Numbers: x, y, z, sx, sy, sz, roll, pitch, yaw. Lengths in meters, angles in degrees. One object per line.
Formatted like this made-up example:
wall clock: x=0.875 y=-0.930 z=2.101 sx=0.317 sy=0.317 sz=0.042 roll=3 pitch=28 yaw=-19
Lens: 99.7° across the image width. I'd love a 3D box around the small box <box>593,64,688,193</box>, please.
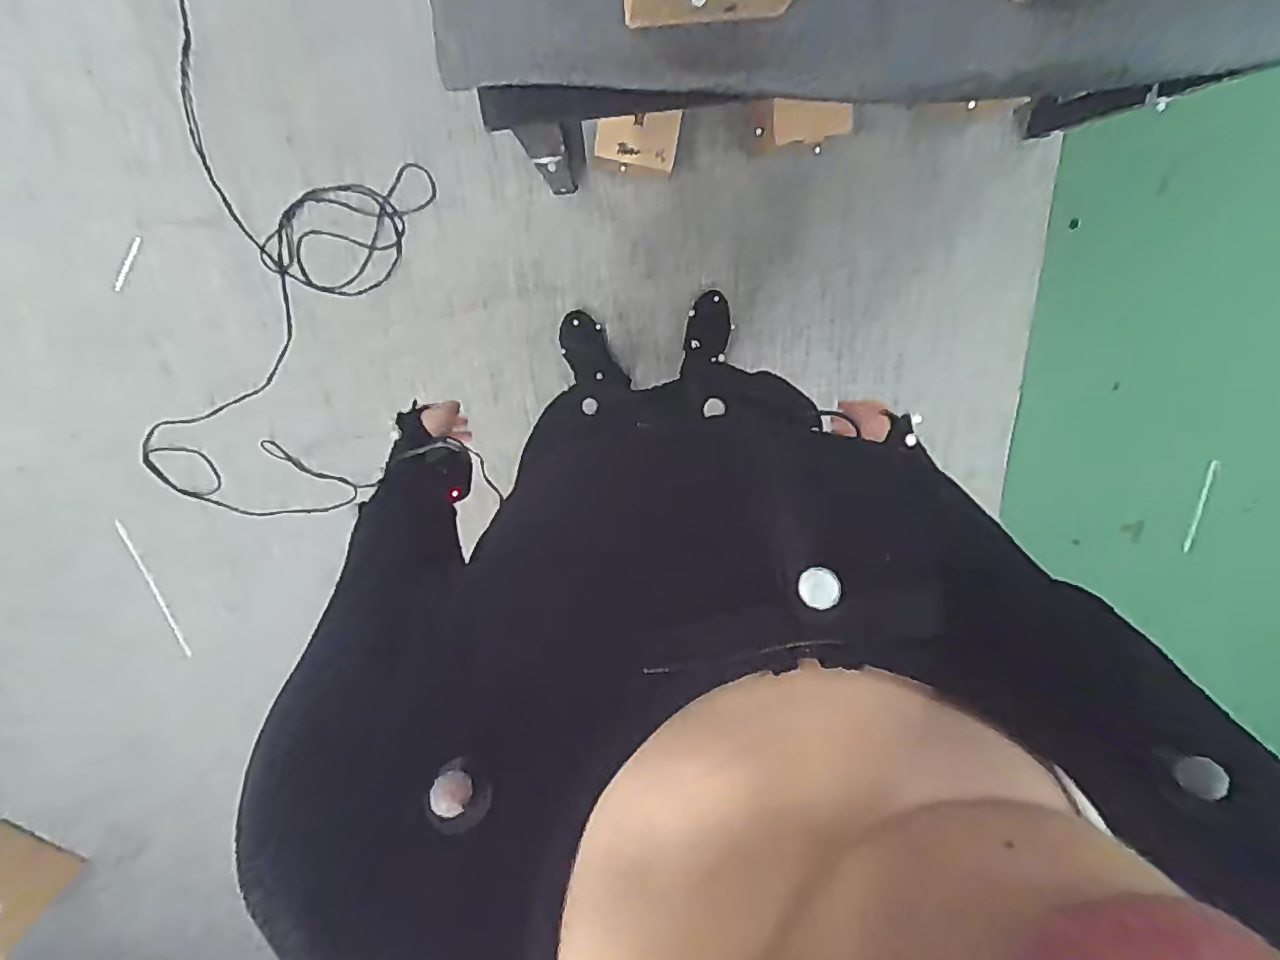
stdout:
small box: x=-0.007 y=-0.736 z=1.153 sx=0.168 sy=0.176 sz=0.179 roll=9 pitch=110 yaw=-7
